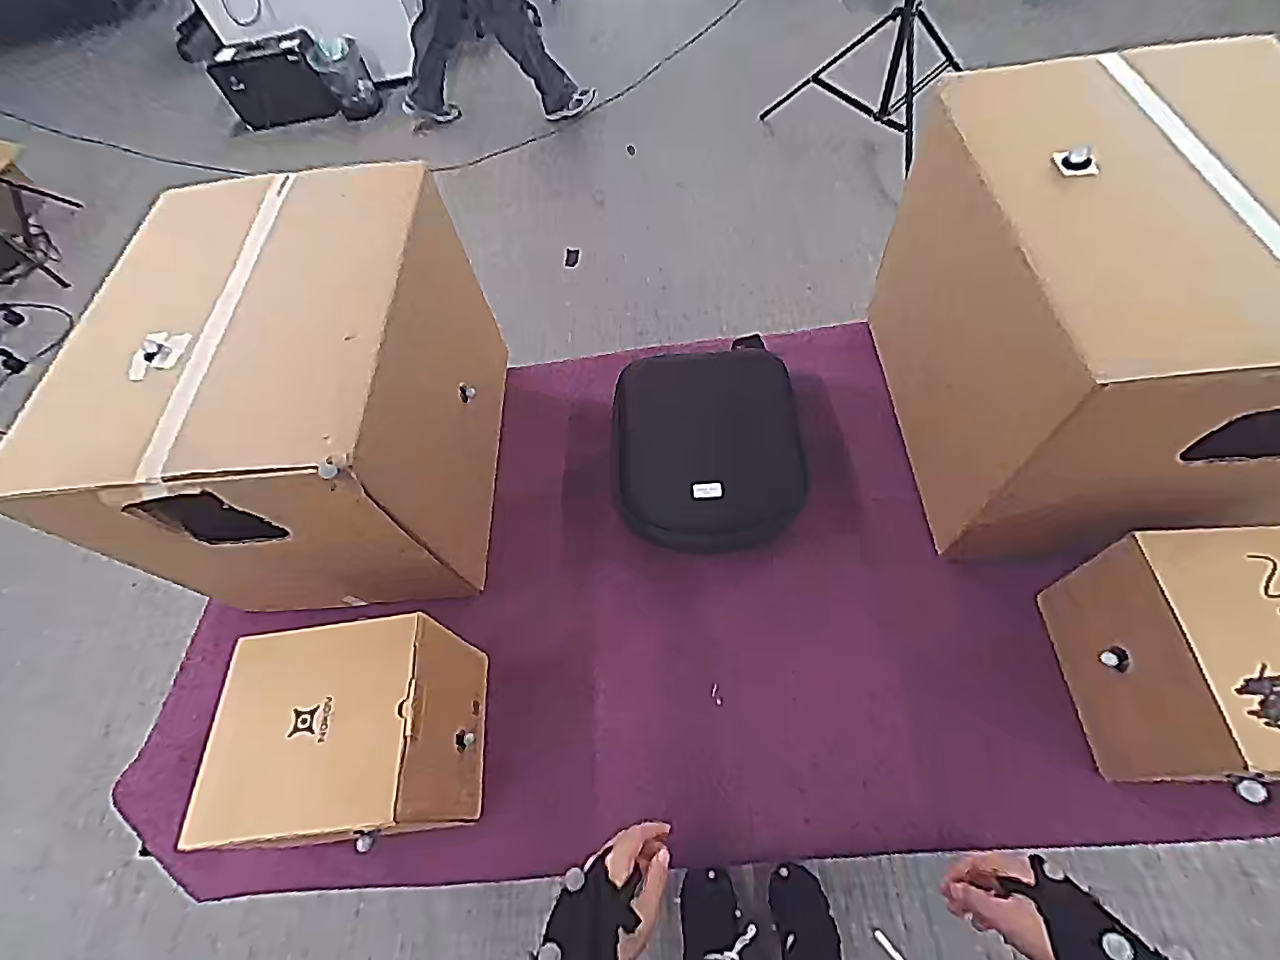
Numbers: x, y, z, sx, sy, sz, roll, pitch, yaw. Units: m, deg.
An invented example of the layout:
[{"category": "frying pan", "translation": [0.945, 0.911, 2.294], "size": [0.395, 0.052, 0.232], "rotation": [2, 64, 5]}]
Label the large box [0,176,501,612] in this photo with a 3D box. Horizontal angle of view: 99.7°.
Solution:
[{"category": "large box", "translation": [-0.367, -0.087, 0.650], "size": [0.320, 0.320, 0.408], "rotation": [-6, 61, 3]}]

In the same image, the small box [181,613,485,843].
[{"category": "small box", "translation": [-0.268, 0.244, 0.522], "size": [0.179, 0.176, 0.168], "rotation": [-9, 58, 2]}]
